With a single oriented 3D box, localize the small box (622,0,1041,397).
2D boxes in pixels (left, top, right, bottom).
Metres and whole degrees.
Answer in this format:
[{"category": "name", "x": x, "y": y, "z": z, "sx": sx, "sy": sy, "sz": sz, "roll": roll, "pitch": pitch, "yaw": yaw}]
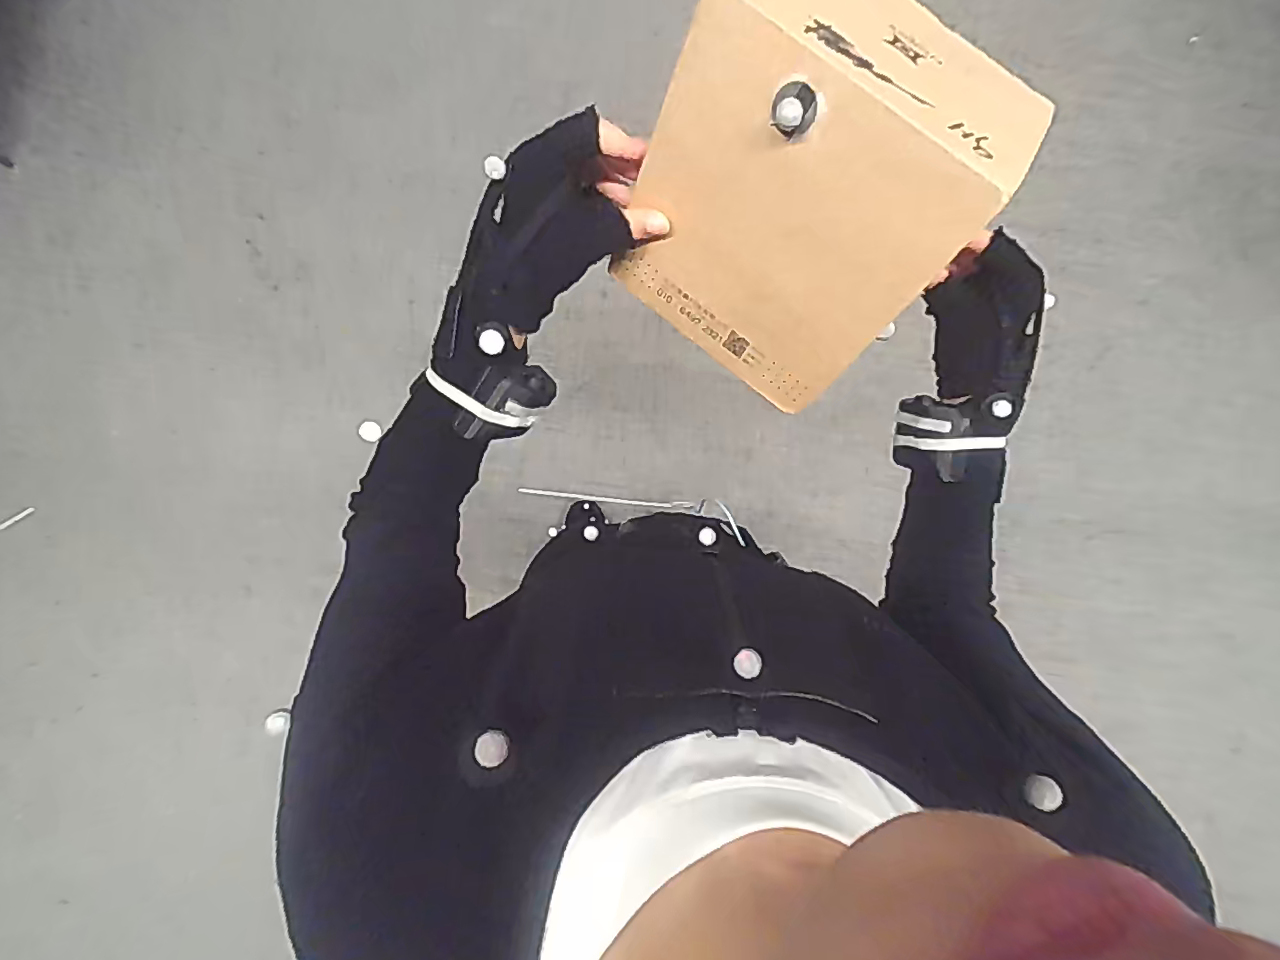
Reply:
[{"category": "small box", "x": 0.112, "y": -0.191, "z": 0.353, "sx": 0.168, "sy": 0.176, "sz": 0.179, "roll": 39, "pitch": 55, "yaw": 4}]
